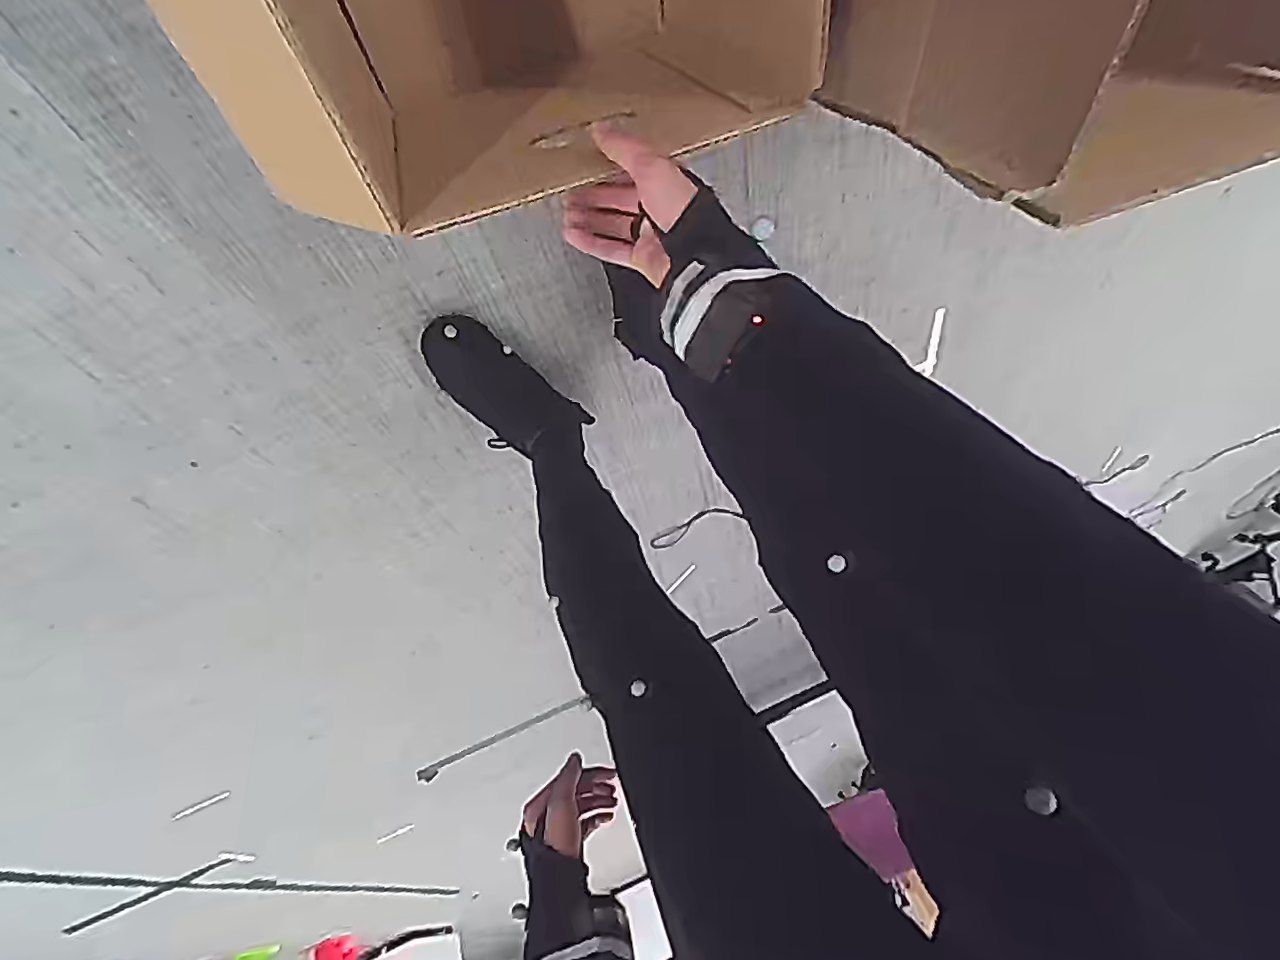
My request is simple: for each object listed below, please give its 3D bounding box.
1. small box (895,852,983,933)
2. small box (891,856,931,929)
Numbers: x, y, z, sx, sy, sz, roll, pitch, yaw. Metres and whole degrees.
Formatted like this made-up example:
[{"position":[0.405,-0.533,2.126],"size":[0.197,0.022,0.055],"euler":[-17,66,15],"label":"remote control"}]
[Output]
[{"position":[0.990,1.372,1.805],"size":[0.179,0.176,0.168],"euler":[-24,139,-3],"label":"small box"},{"position":[1.059,1.513,1.989],"size":[0.179,0.176,0.168],"euler":[-25,139,-1],"label":"small box"}]
